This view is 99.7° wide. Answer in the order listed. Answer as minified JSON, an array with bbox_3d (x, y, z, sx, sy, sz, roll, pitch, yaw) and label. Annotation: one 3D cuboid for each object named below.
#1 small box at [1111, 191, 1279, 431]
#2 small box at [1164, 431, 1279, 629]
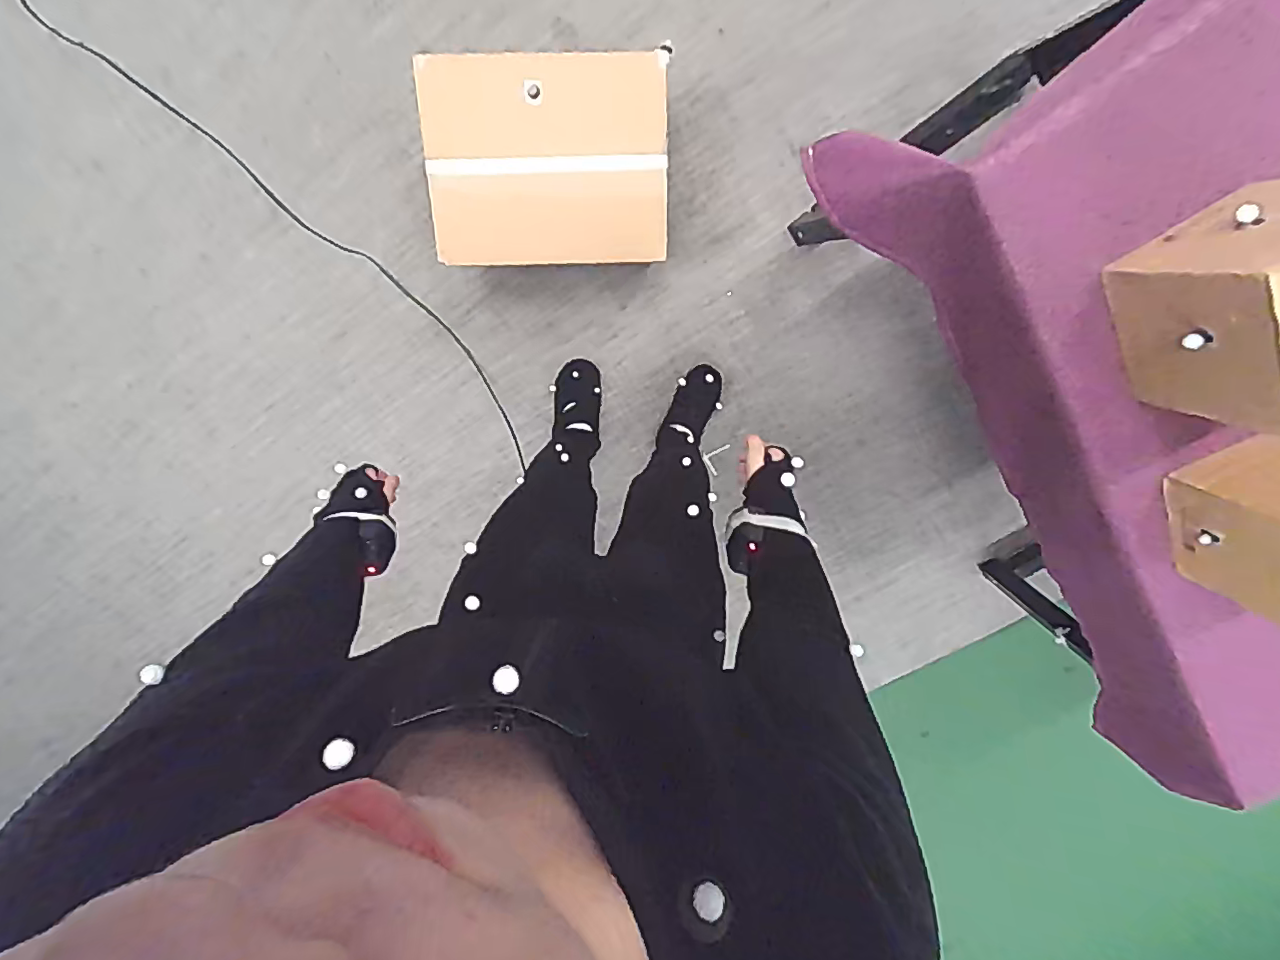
[{"bbox_3d":[0.626,-0.173,0.537,0.168,0.176,0.179,-31,110,11],"label":"small box"},{"bbox_3d":[0.789,0.054,0.639,0.179,0.176,0.168,-26,111,9],"label":"small box"}]
